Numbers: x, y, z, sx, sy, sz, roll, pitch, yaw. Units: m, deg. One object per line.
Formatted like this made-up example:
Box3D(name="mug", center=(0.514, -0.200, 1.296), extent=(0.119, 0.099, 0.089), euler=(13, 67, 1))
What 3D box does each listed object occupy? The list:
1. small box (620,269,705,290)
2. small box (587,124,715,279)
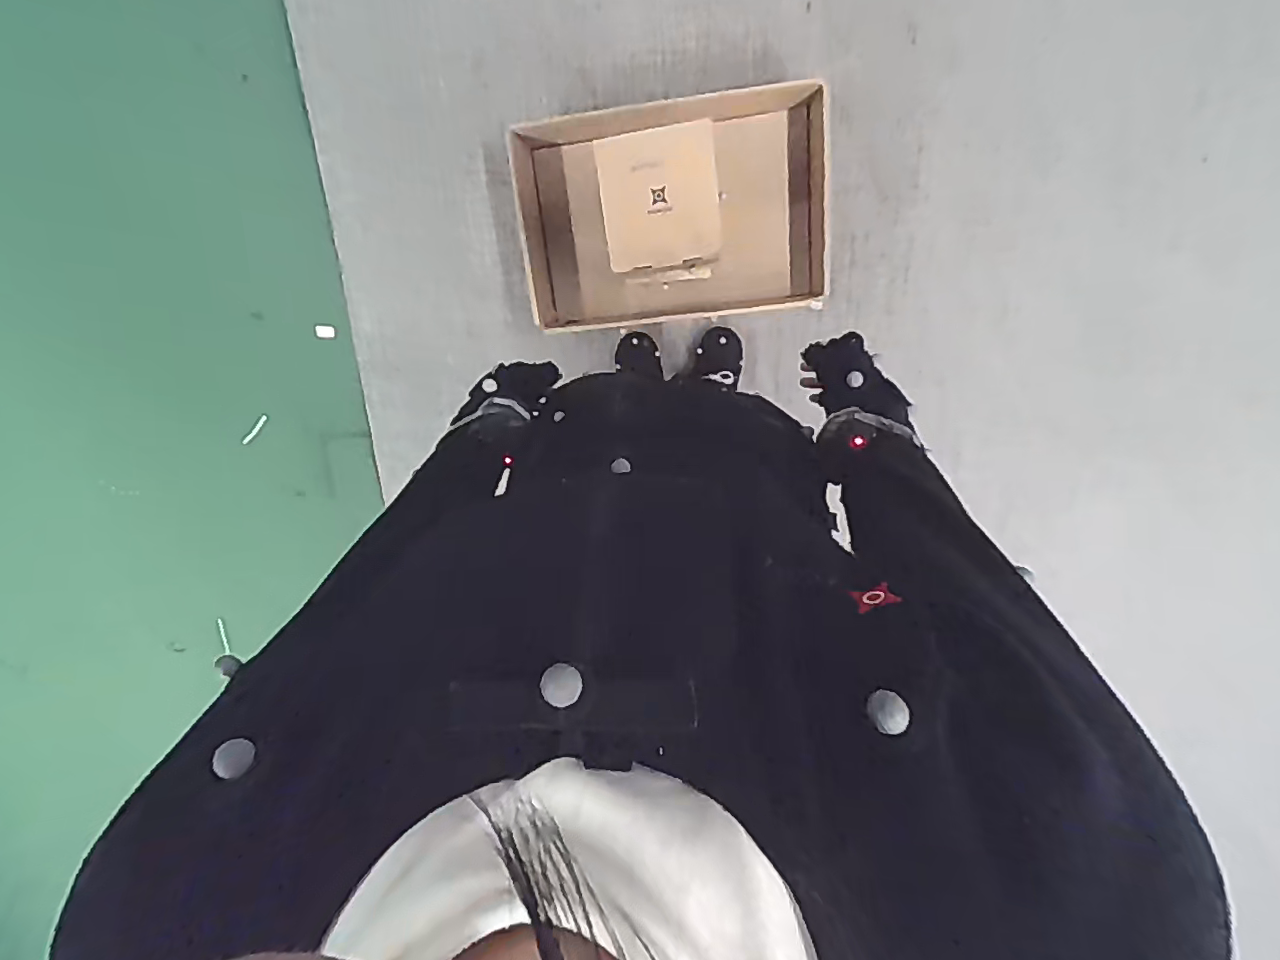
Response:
Box3D(name="small box", center=(0.048, -0.504, 1.165), extent=(0.179, 0.176, 0.168), euler=(-2, 107, 7))
Box3D(name="small box", center=(0.025, -0.413, 0.837), extent=(0.168, 0.176, 0.179), euler=(-7, 106, 6))
